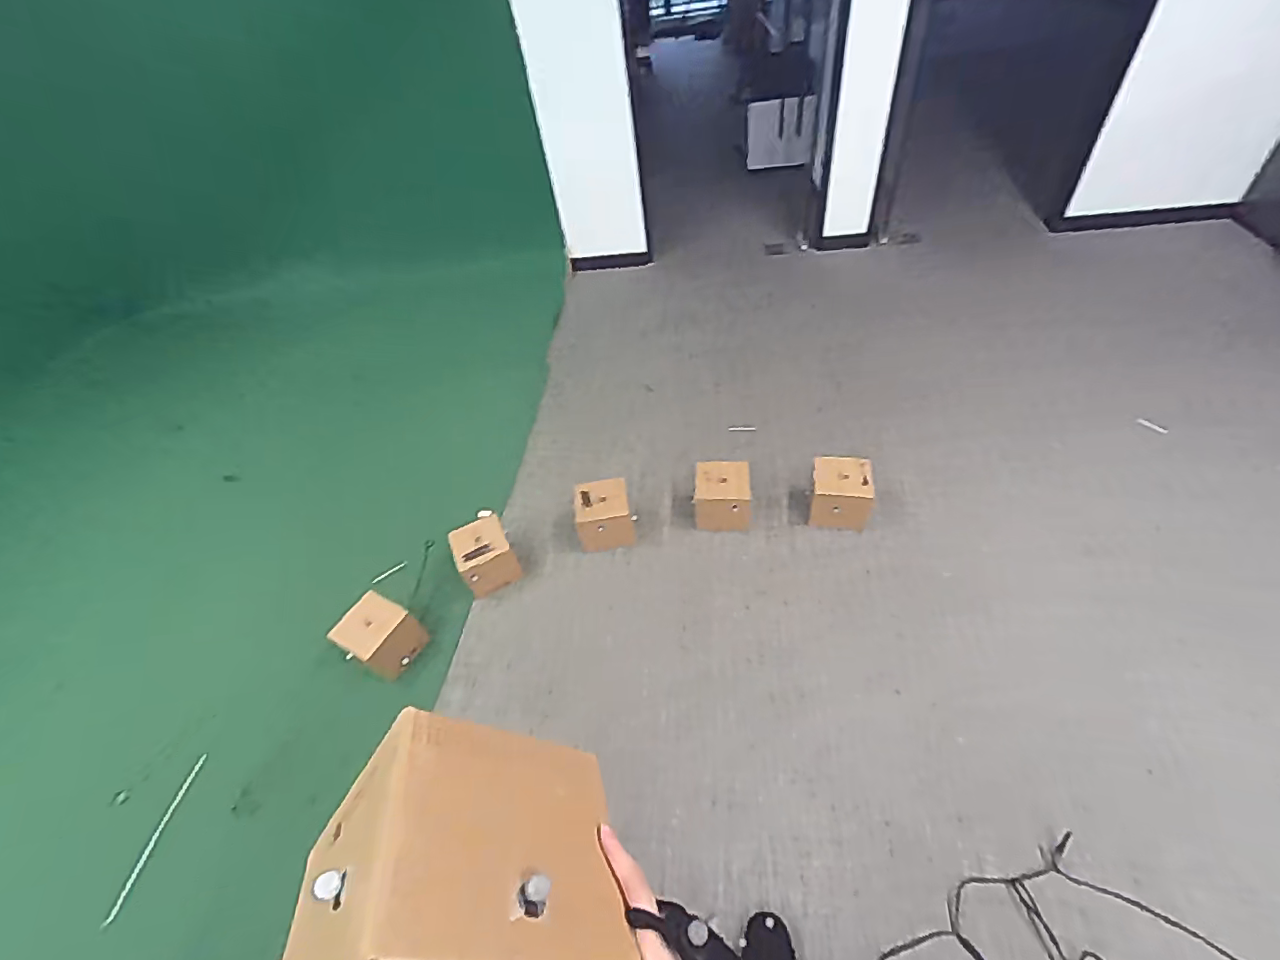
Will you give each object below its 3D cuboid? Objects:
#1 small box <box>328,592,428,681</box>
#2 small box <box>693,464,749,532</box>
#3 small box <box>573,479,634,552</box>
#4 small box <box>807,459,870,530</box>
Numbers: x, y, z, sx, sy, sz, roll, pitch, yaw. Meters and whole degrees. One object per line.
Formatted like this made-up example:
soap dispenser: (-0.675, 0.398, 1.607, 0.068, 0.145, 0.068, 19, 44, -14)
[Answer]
small box: (-0.774, 0.470, 1.613, 0.179, 0.176, 0.168, 18, 53, 24)
small box: (0.271, 0.062, 1.815, 0.179, 0.176, 0.168, 0, 47, 9)
small box: (-0.122, 0.124, 1.821, 0.179, 0.176, 0.168, -9, 47, 0)
small box: (0.642, 0.050, 1.766, 0.179, 0.176, 0.168, 3, 49, 13)
